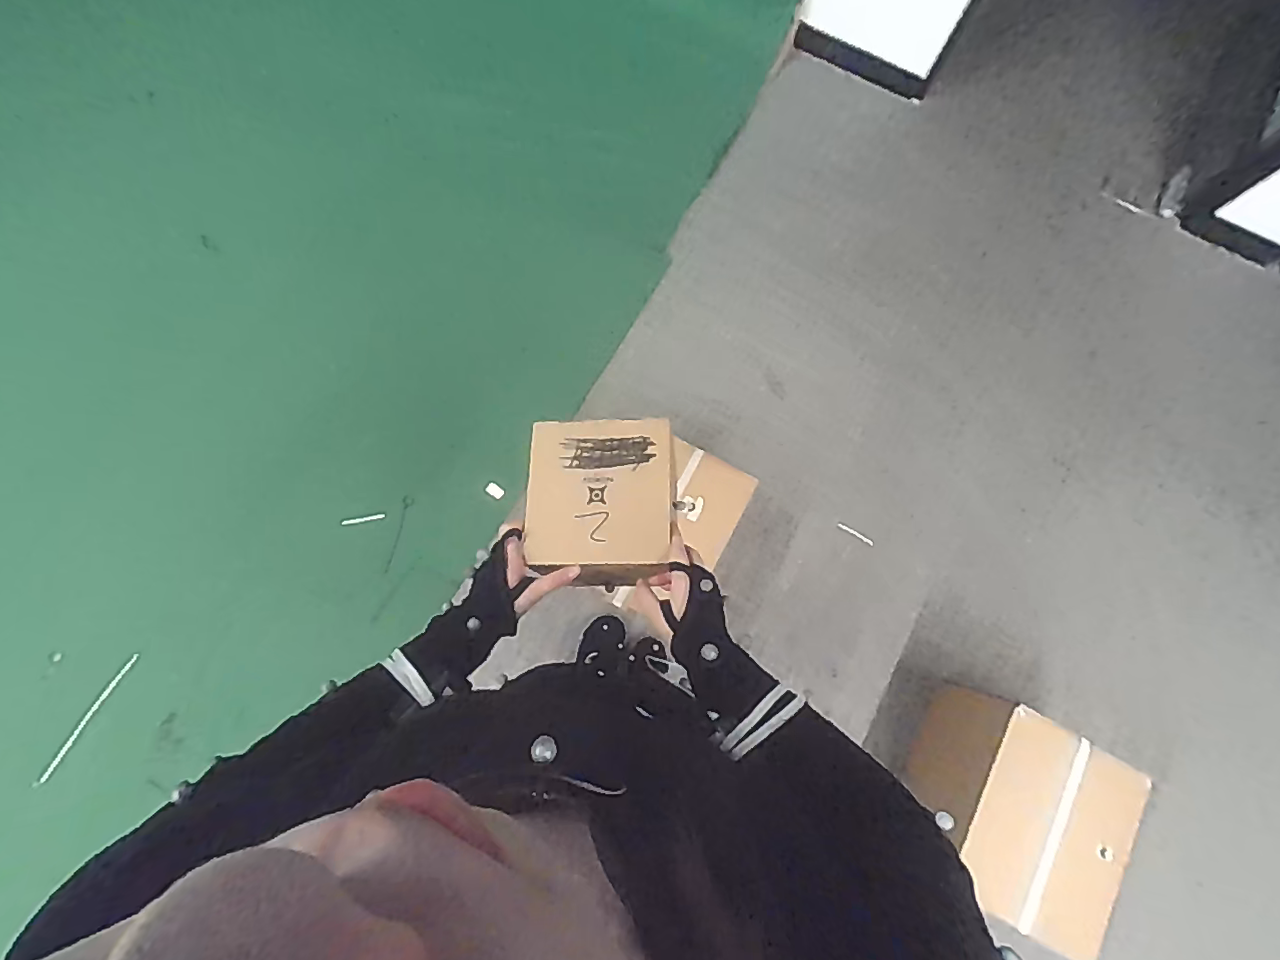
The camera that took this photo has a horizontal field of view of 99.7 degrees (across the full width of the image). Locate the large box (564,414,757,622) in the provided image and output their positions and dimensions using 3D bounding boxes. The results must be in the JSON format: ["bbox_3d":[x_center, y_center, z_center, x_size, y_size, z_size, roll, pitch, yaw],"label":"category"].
[{"bbox_3d":[0.052,0.112,1.392,0.320,0.320,0.408,29,80,5],"label":"large box"}]
